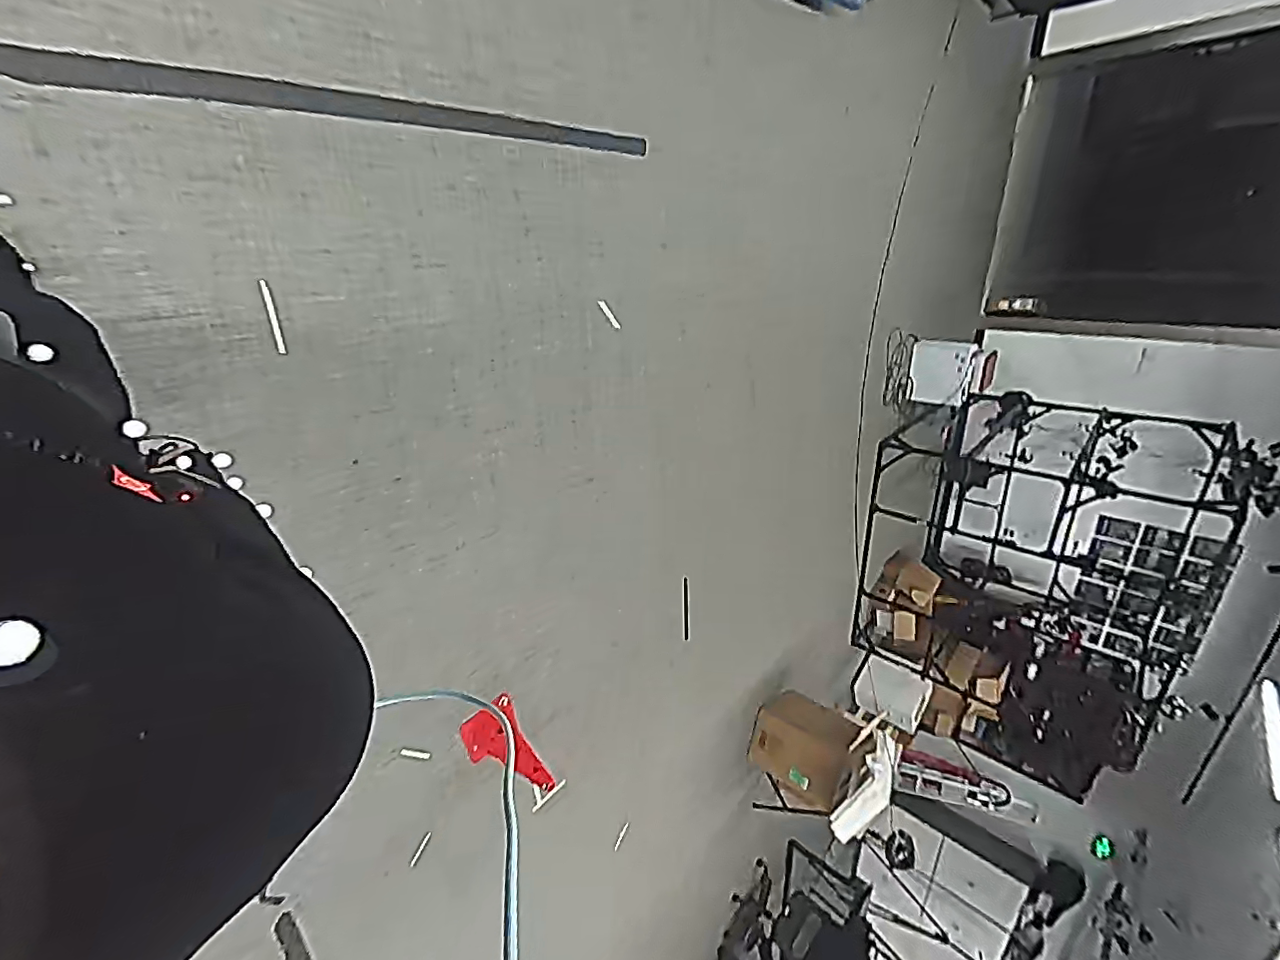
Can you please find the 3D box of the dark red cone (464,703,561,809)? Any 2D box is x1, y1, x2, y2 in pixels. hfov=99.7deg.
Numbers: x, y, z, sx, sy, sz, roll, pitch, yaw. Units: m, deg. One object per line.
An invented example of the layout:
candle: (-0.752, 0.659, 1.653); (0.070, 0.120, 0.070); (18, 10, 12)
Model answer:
dark red cone: (-0.397, 0.945, 1.791); (0.201, 0.394, 0.202); (-31, 126, -37)
